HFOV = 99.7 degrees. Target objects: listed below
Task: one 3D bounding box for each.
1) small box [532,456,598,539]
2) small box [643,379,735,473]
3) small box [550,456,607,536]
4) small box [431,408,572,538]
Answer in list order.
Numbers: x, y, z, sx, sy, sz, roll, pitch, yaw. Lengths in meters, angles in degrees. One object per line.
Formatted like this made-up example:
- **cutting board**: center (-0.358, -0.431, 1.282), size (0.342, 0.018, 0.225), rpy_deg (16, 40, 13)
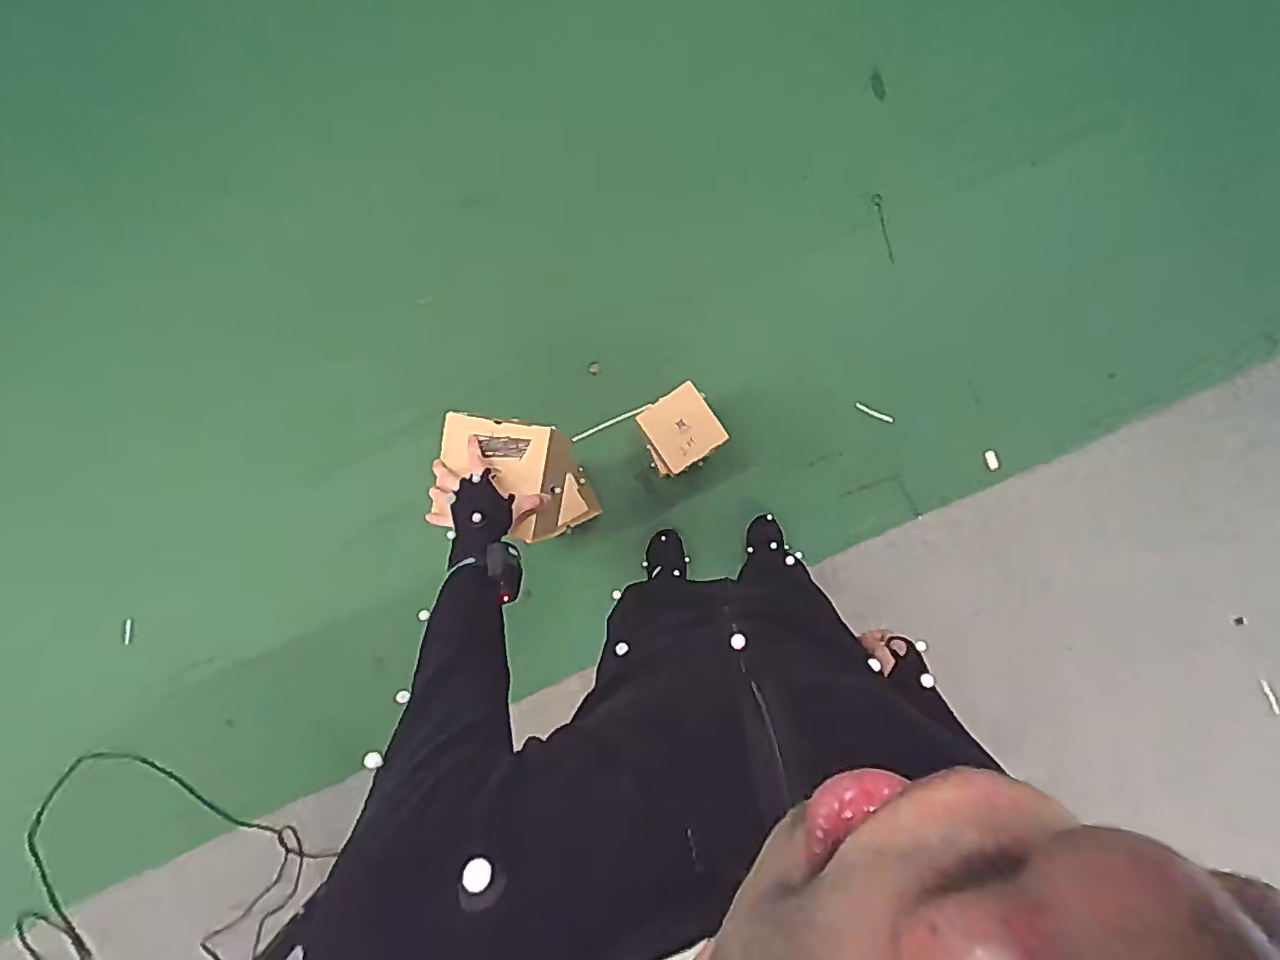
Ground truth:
- **small box**: center (-0.220, 0.040, 1.408), size (0.179, 0.176, 0.168), rpy_deg (-28, 86, 1)
- **small box**: center (0.122, -0.130, 1.397), size (0.168, 0.176, 0.179), rpy_deg (-33, 87, 1)
- **small box**: center (-0.207, 0.046, 1.571), size (0.168, 0.176, 0.179), rpy_deg (-26, 86, 2)
- **small box**: center (-0.218, -0.011, 0.898), size (0.168, 0.176, 0.179), rpy_deg (10, 91, 6)
